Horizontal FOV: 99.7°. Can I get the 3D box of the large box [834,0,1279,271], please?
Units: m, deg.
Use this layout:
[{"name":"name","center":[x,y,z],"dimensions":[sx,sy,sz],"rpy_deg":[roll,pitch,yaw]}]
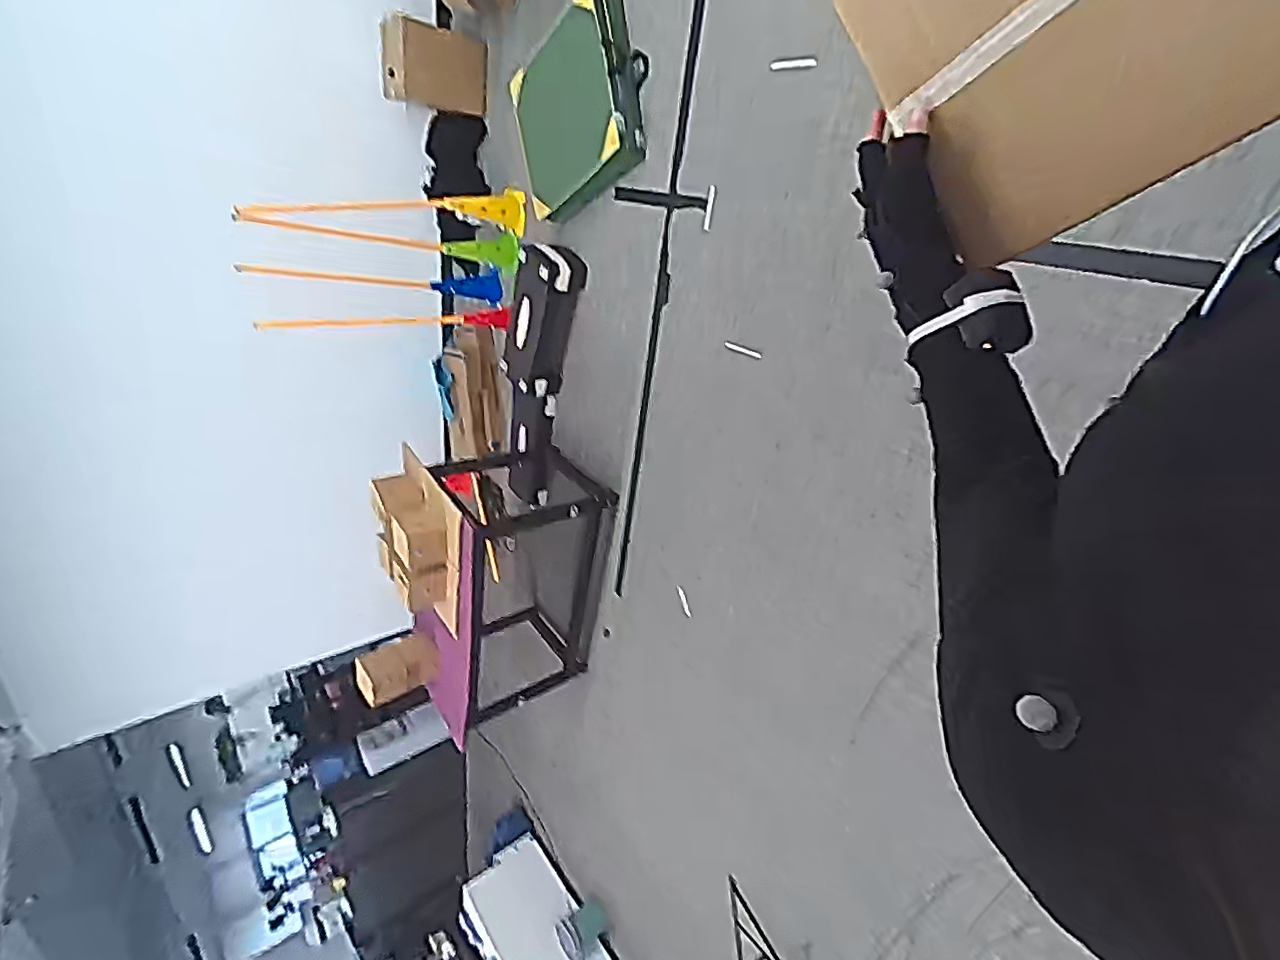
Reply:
[{"name":"large box","center":[0.450,-0.445,0.454],"dimensions":[0.408,0.320,0.320],"rpy_deg":[-25,99,47]}]
